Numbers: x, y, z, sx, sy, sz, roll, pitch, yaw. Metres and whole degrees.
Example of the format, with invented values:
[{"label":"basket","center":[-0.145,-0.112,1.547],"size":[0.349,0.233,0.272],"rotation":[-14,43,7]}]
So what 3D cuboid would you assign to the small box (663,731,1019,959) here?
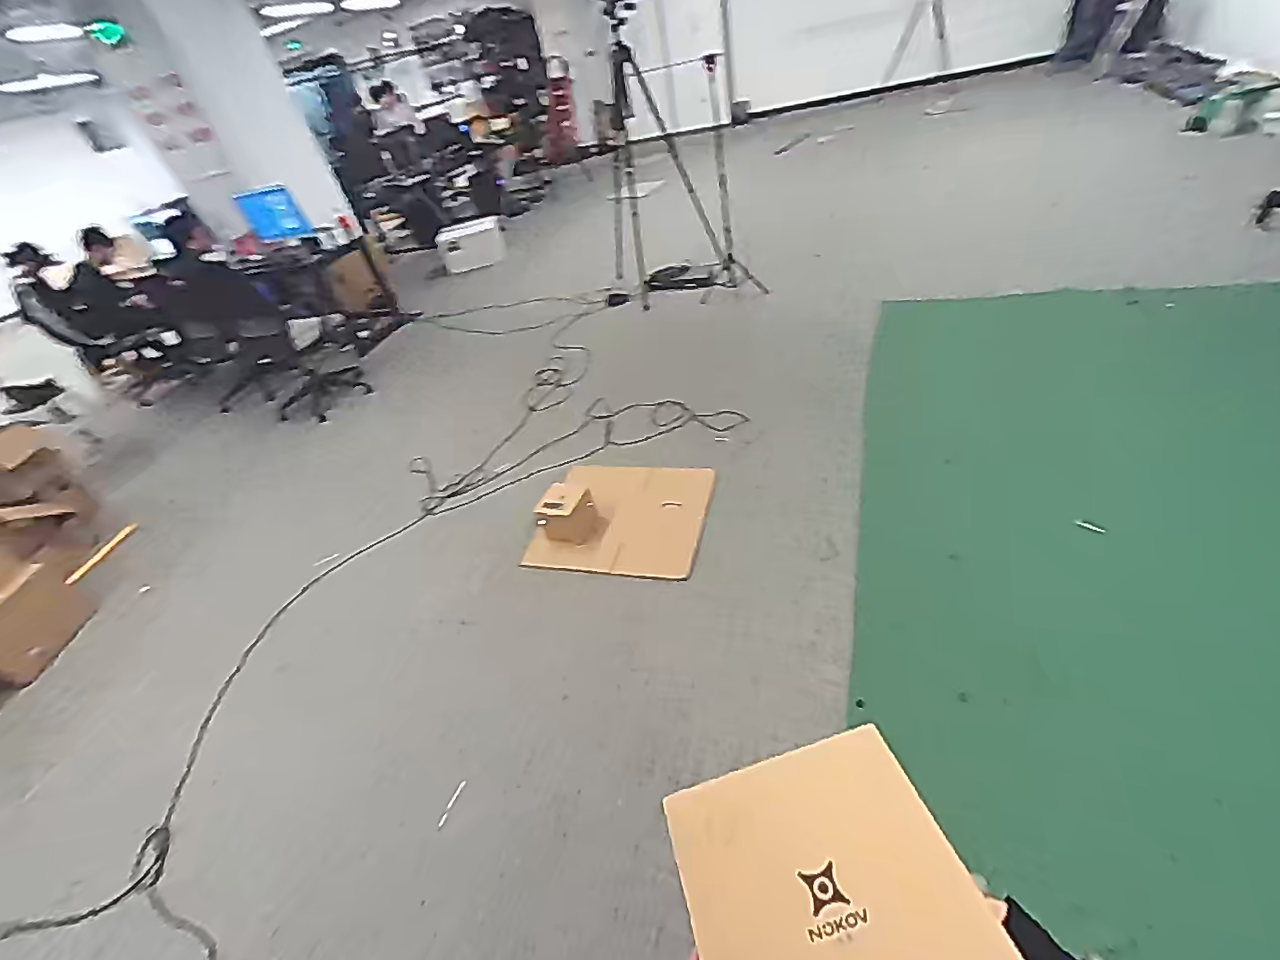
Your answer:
[{"label":"small box","center":[0.128,0.315,0.364],"size":[0.168,0.176,0.179],"rotation":[-19,33,-4]}]
